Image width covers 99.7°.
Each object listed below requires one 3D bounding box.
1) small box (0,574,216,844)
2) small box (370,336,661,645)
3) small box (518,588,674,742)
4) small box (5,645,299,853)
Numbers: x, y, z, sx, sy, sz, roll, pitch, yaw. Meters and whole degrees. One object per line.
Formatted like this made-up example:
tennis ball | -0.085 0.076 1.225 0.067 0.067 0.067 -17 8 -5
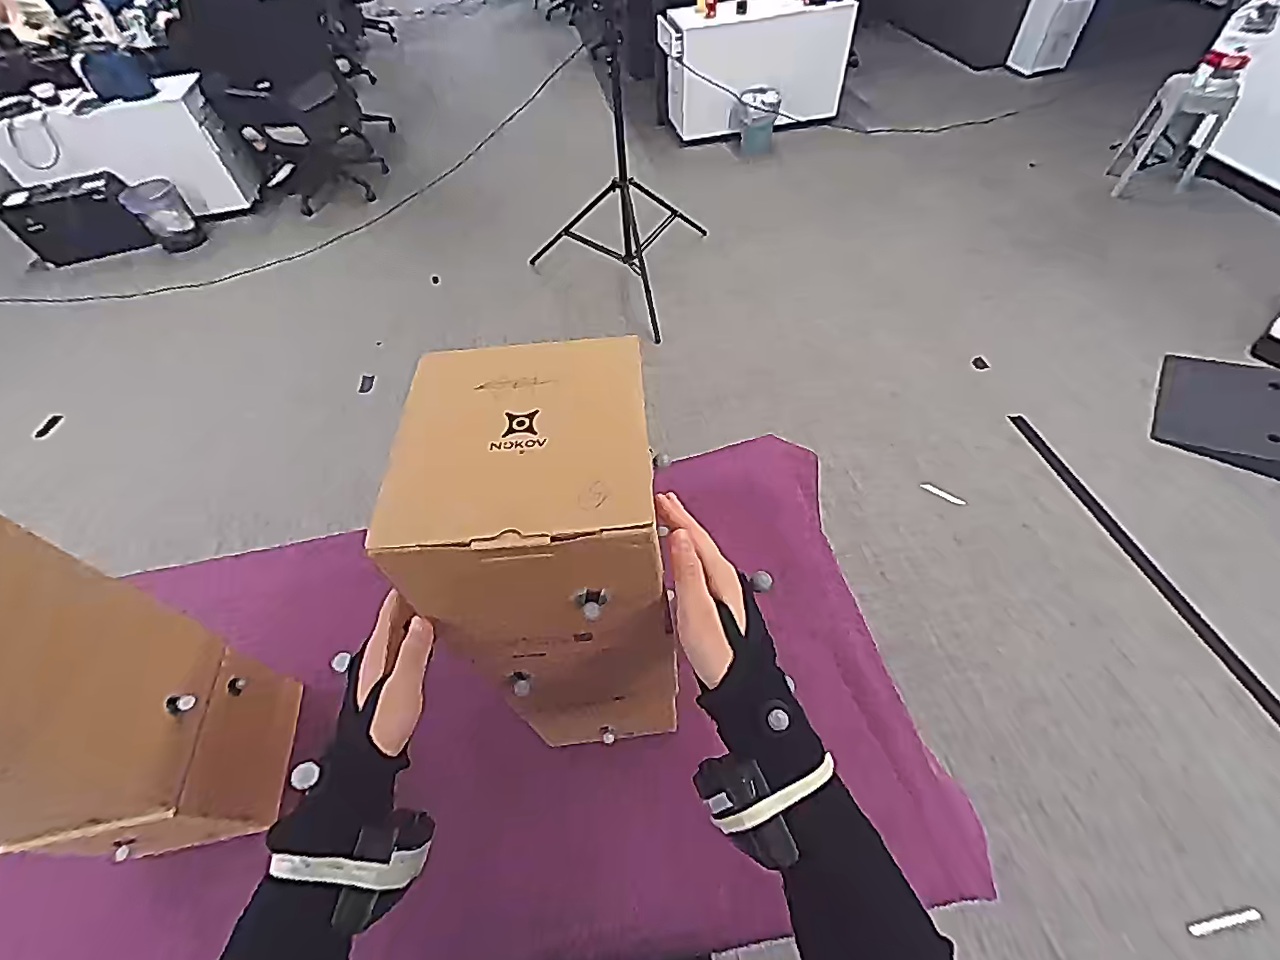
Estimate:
small box | -0.550 0.217 0.508 0.168 0.176 0.179 -11 52 -4
small box | -0.073 0.016 0.417 0.168 0.176 0.179 -5 51 0
small box | -0.049 0.210 0.679 0.168 0.176 0.179 -7 53 0
small box | -0.539 0.321 0.635 0.168 0.176 0.179 -11 52 -4
